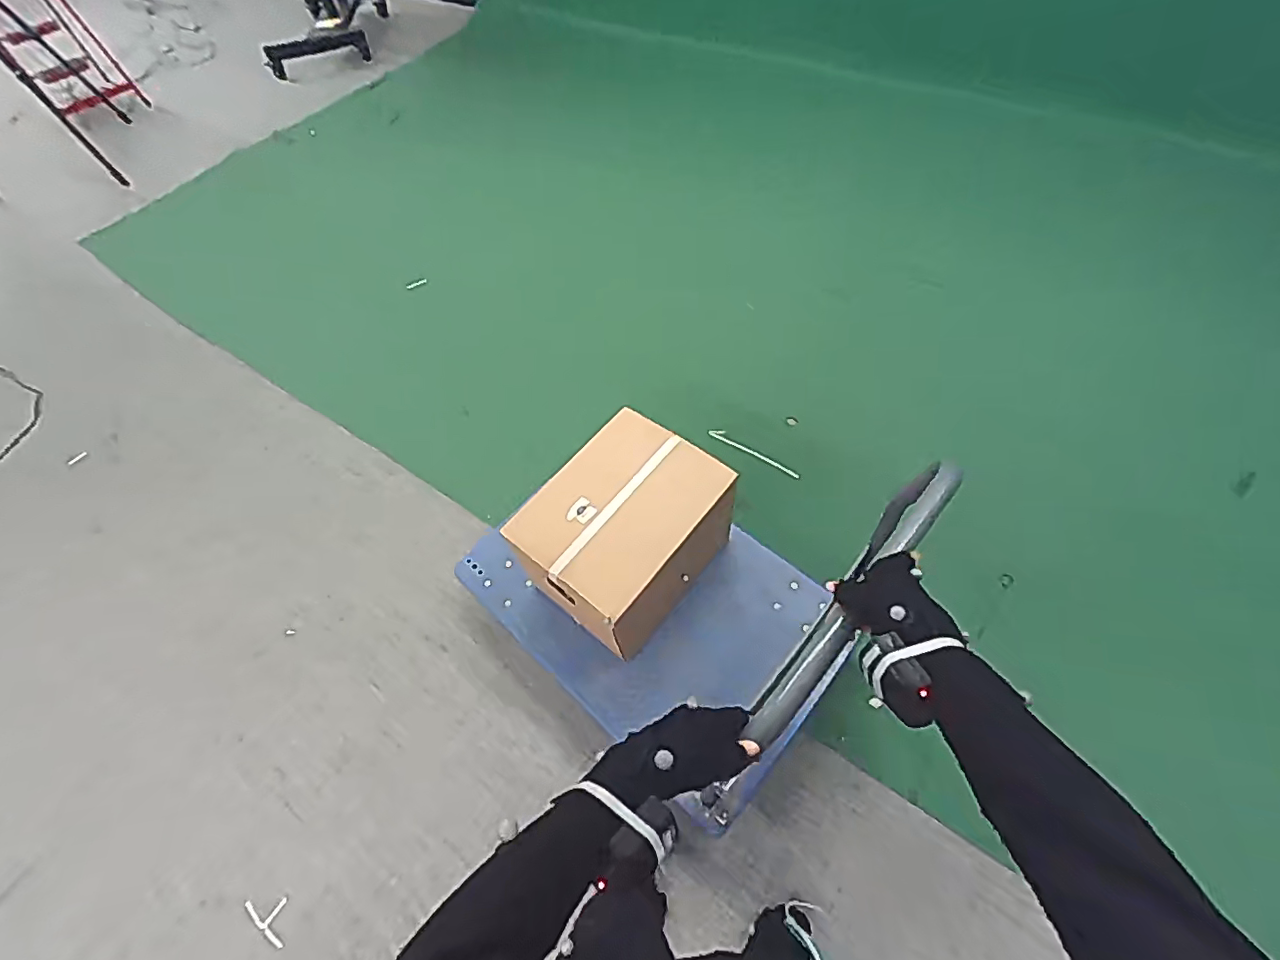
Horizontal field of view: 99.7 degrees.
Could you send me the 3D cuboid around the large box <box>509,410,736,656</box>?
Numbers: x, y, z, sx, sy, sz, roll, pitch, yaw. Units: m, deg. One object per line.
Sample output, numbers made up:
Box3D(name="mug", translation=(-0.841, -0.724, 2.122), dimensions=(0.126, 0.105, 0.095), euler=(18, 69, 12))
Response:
Box3D(name="large box", translation=(-0.022, 0.124, 1.248), dimensions=(0.320, 0.320, 0.408), euler=(33, 67, 22))
